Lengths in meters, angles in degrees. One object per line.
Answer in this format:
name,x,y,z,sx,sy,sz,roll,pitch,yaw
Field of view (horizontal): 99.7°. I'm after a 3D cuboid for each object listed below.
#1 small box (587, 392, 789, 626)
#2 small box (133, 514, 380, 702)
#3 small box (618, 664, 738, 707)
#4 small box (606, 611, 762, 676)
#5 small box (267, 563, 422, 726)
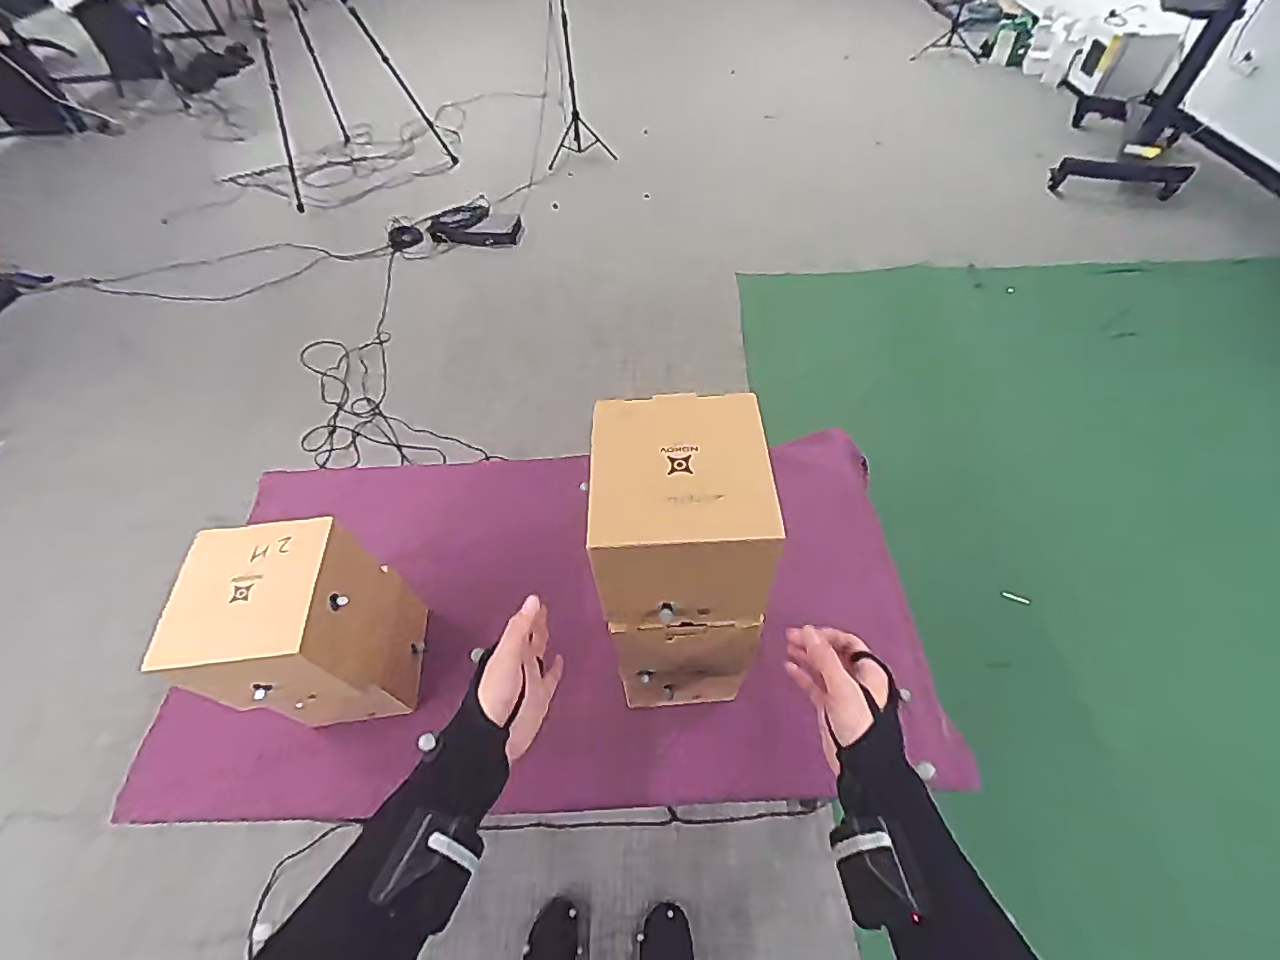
small box,0.041,0.032,0.547,0.168,0.176,0.179,-2,52,2
small box,-0.446,0.165,0.668,0.168,0.176,0.179,-5,54,-3
small box,0.054,0.229,0.809,0.168,0.176,0.179,-4,52,0
small box,0.050,0.136,0.673,0.168,0.176,0.179,-2,51,1
small box,-0.443,0.249,0.812,0.168,0.176,0.179,-7,53,-2
